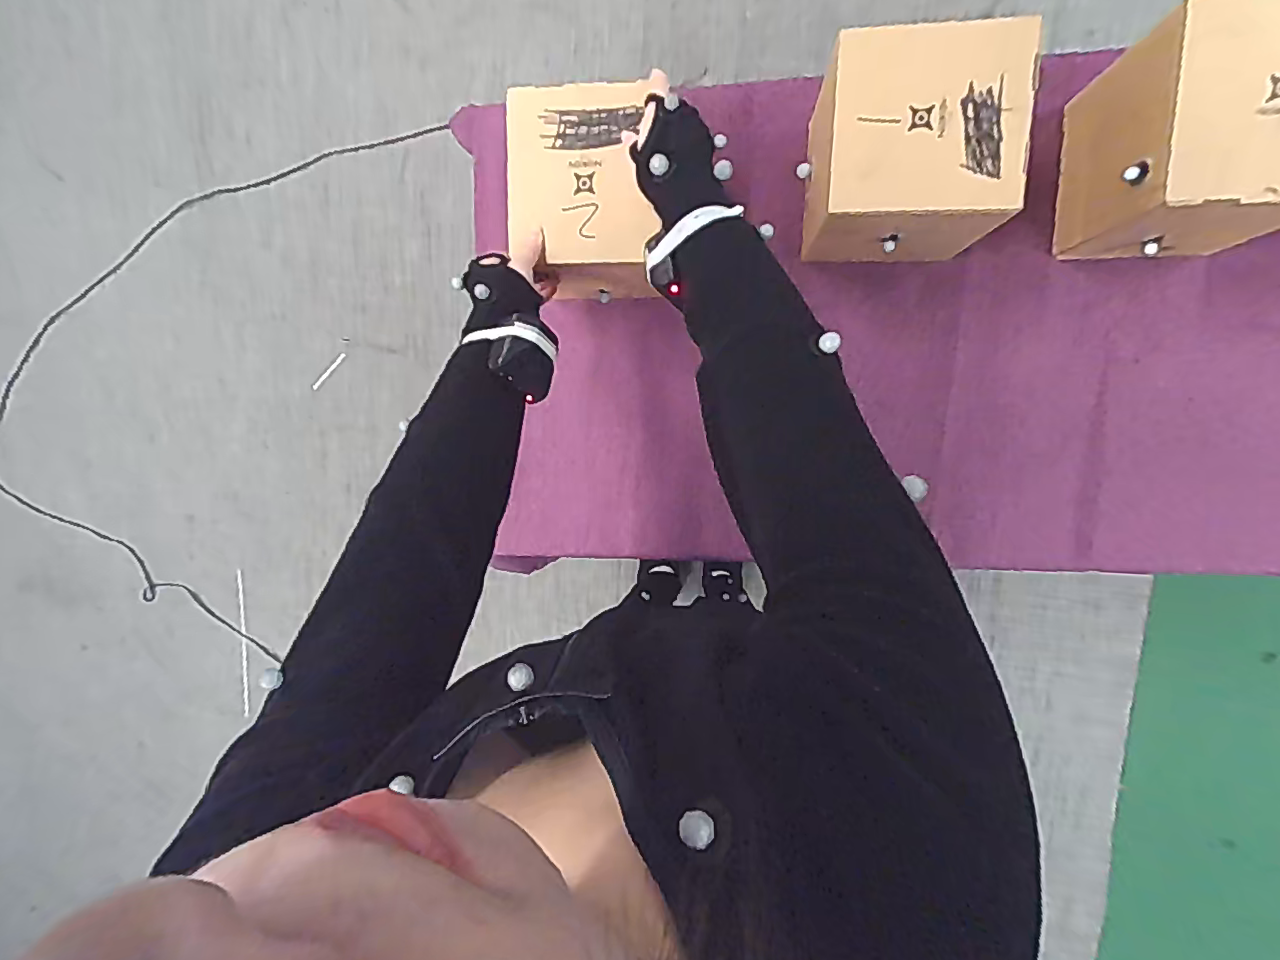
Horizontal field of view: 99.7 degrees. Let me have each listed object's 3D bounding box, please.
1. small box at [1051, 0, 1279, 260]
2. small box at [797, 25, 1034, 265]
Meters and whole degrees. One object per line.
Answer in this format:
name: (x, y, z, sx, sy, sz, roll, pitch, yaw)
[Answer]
small box: (0.555, -0.336, 0.544, 0.168, 0.176, 0.179, 1, 97, 8)
small box: (0.275, -0.339, 0.581, 0.179, 0.176, 0.168, 3, 96, 9)
